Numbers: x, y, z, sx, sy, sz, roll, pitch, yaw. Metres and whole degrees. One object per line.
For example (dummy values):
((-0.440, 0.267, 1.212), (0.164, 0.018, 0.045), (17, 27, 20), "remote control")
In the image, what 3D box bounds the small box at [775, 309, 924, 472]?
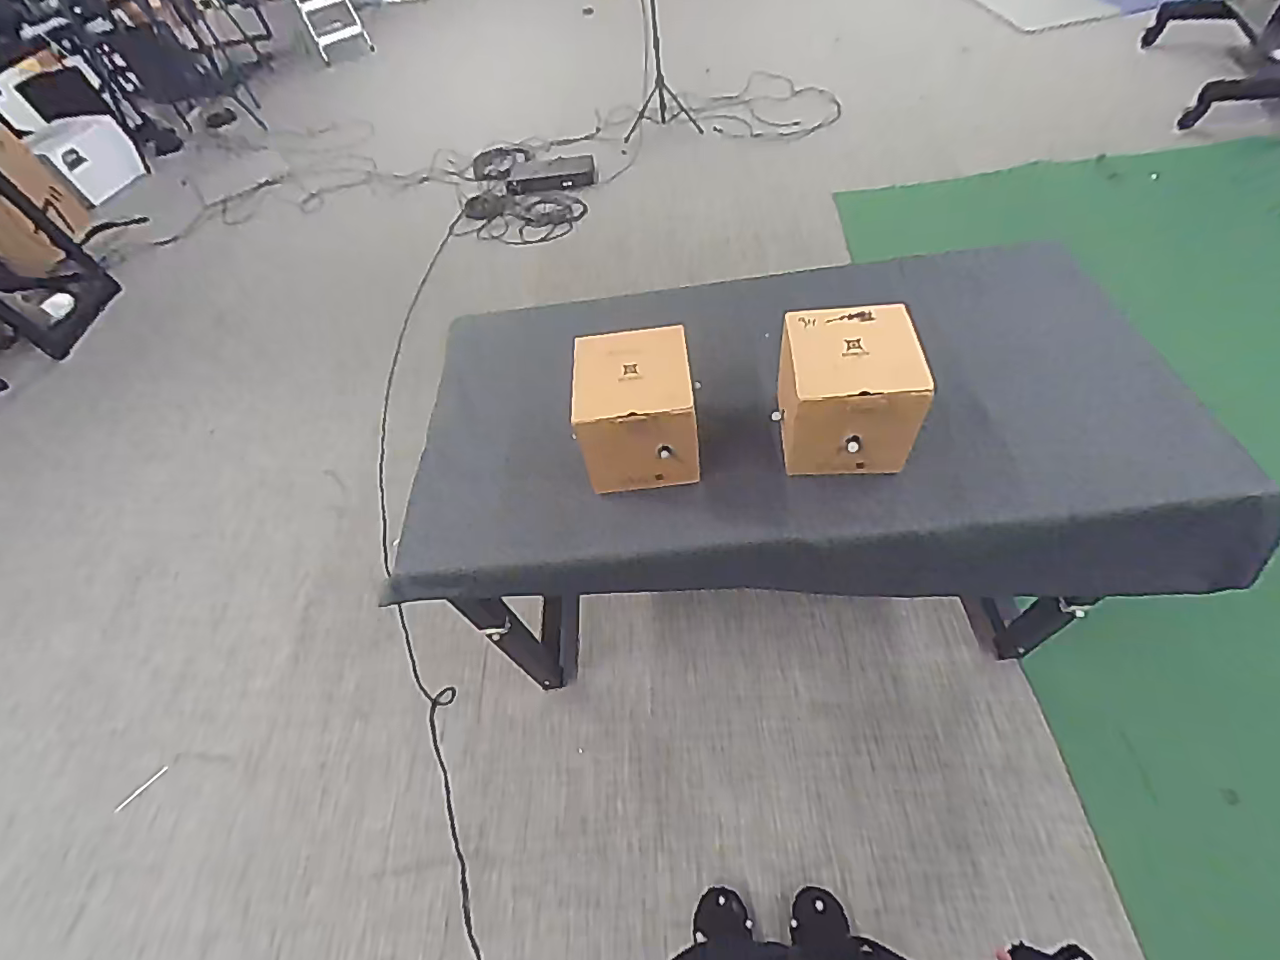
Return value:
((0.292, -0.122, 0.794), (0.168, 0.176, 0.179), (-2, 55, 8), "small box")

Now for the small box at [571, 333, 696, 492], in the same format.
((-0.006, -0.095, 0.831), (0.168, 0.176, 0.179), (-7, 52, 3), "small box")
